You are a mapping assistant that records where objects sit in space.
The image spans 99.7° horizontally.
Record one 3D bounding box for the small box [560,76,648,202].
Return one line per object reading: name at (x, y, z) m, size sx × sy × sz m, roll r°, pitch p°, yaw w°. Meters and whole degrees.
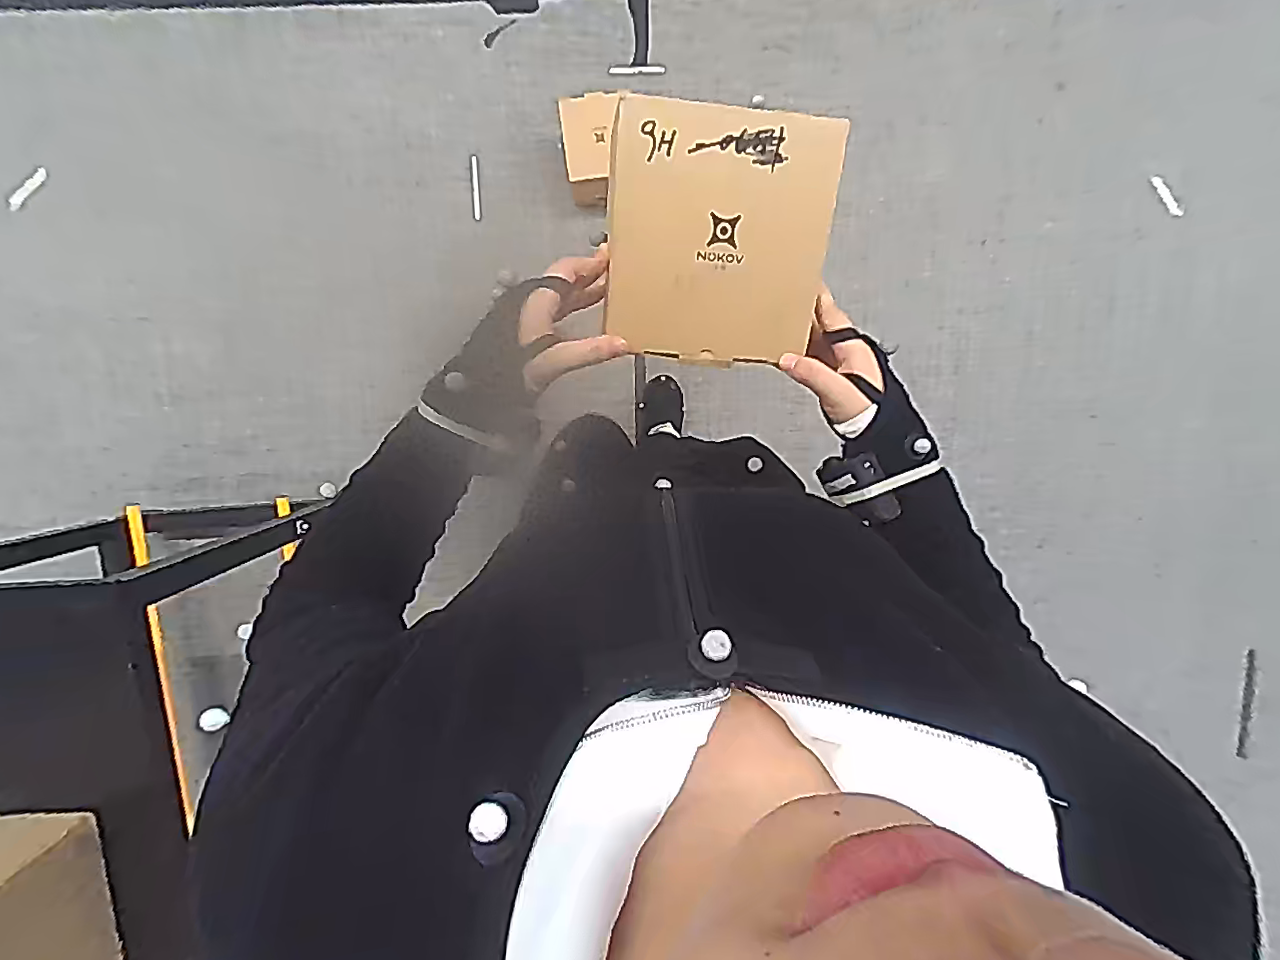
small box at (-0.078, -0.748, 1.201) m, size 0.168 × 0.176 × 0.179 m, roll -9°, pitch 100°, yaw 0°
